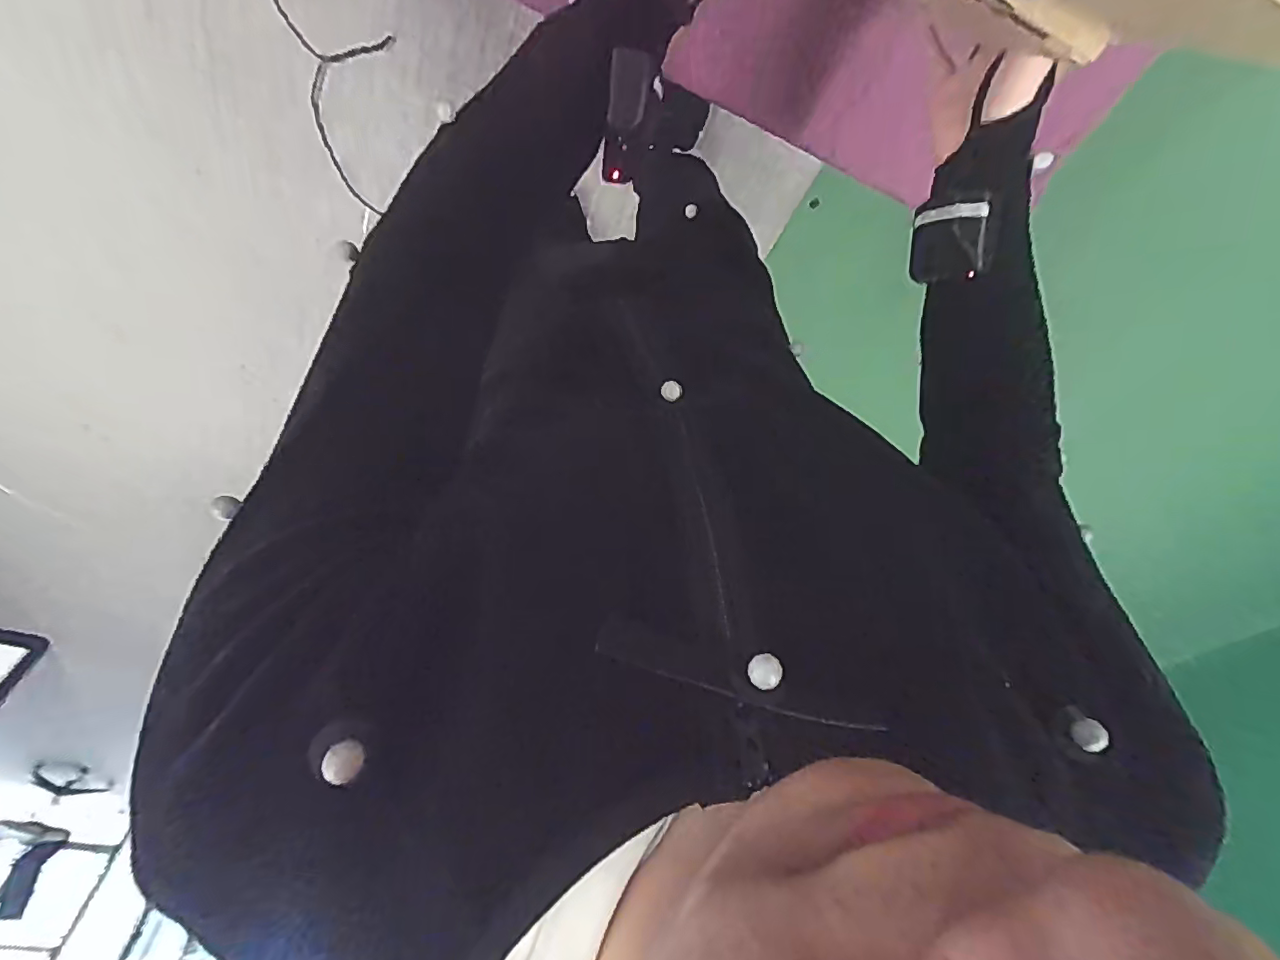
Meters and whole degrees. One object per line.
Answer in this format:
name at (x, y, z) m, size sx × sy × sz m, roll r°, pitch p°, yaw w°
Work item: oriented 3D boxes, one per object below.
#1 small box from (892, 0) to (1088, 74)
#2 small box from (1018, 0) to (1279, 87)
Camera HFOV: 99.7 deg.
small box at (0.214, -0.373, 0.301) m, size 0.168 × 0.176 × 0.179 m, roll 19°, pitch 131°, yaw -14°
small box at (0.213, -0.268, 0.178) m, size 0.168 × 0.176 × 0.179 m, roll 18°, pitch 131°, yaw -13°
